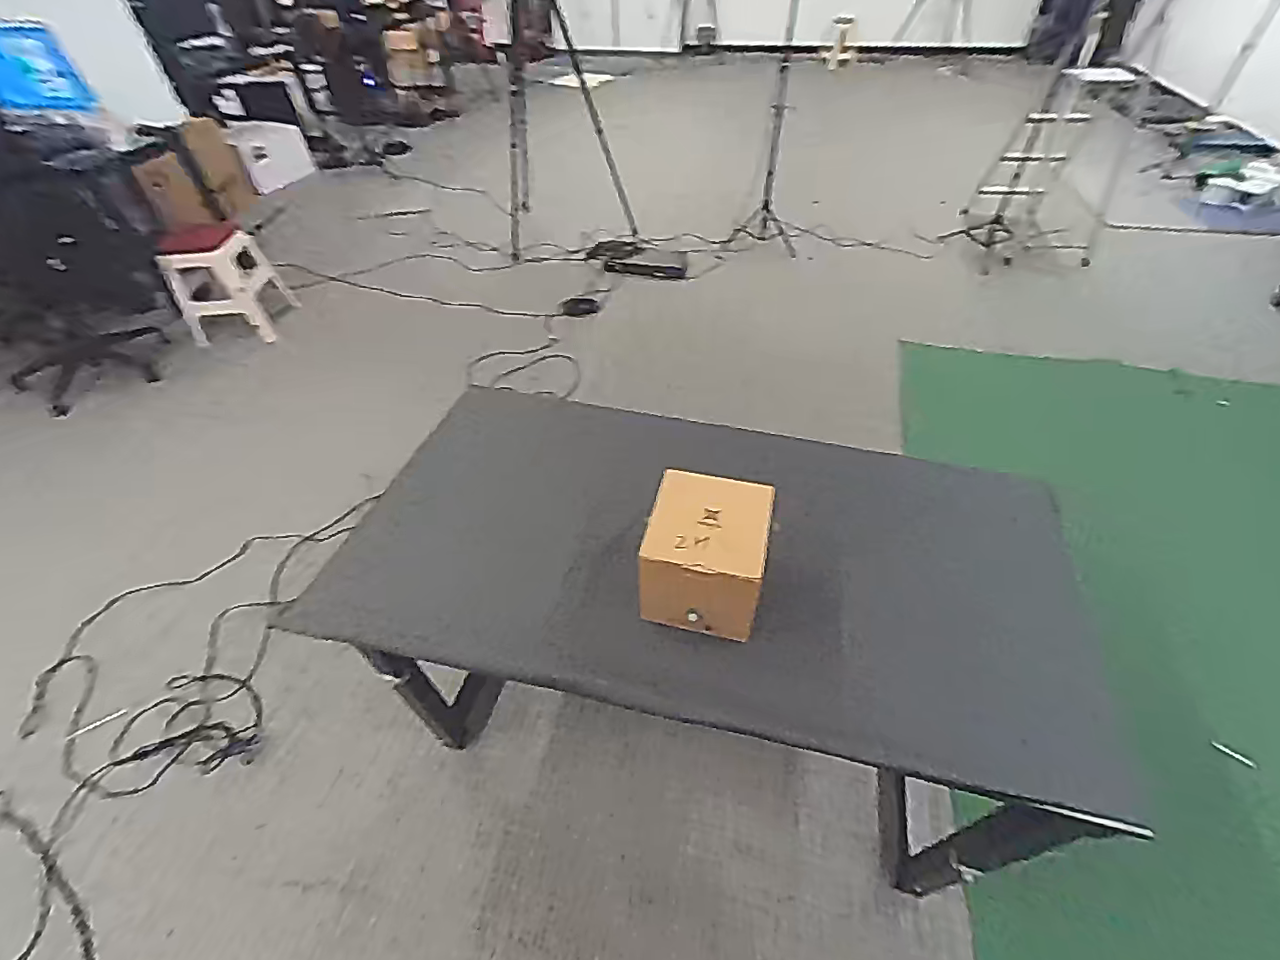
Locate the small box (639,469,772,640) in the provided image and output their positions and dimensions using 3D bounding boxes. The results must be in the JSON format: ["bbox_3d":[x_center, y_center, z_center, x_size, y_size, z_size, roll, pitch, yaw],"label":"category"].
[{"bbox_3d":[0.097,0.113,0.823,0.168,0.176,0.179,10,47,11],"label":"small box"}]
